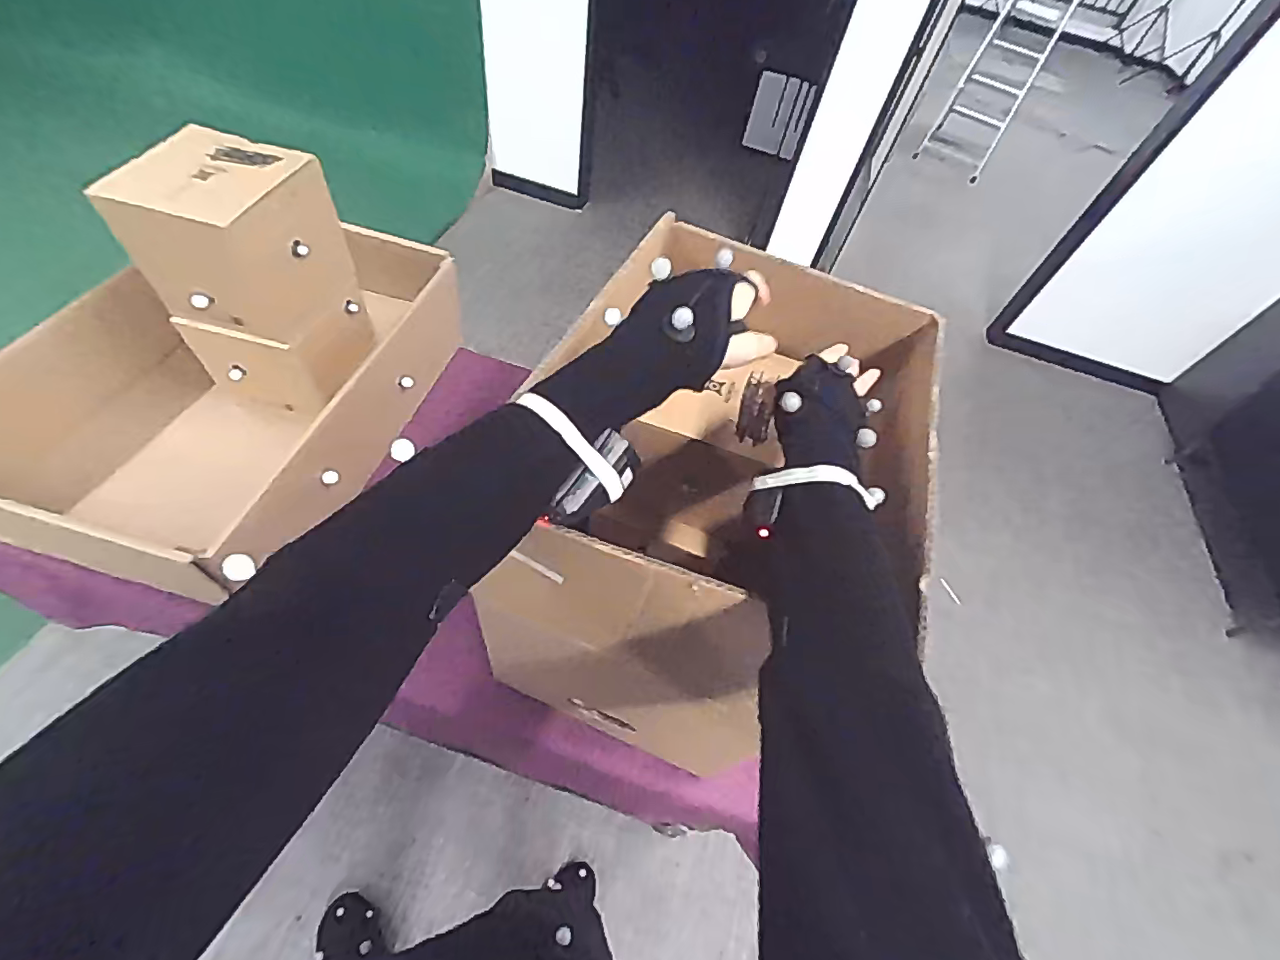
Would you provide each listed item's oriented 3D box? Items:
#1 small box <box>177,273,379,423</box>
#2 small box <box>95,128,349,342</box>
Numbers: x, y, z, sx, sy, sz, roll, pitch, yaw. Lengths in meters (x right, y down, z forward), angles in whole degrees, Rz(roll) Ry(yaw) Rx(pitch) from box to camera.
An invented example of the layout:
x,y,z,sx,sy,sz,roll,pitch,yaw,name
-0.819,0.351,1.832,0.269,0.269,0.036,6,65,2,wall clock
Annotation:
x,y,z,sx,sy,sz,roll,pitch,yaw,name
-0.532,-0.213,0.831,0.168,0.176,0.179,14,55,1,small box
-0.510,-0.311,0.700,0.168,0.176,0.179,15,56,2,small box
